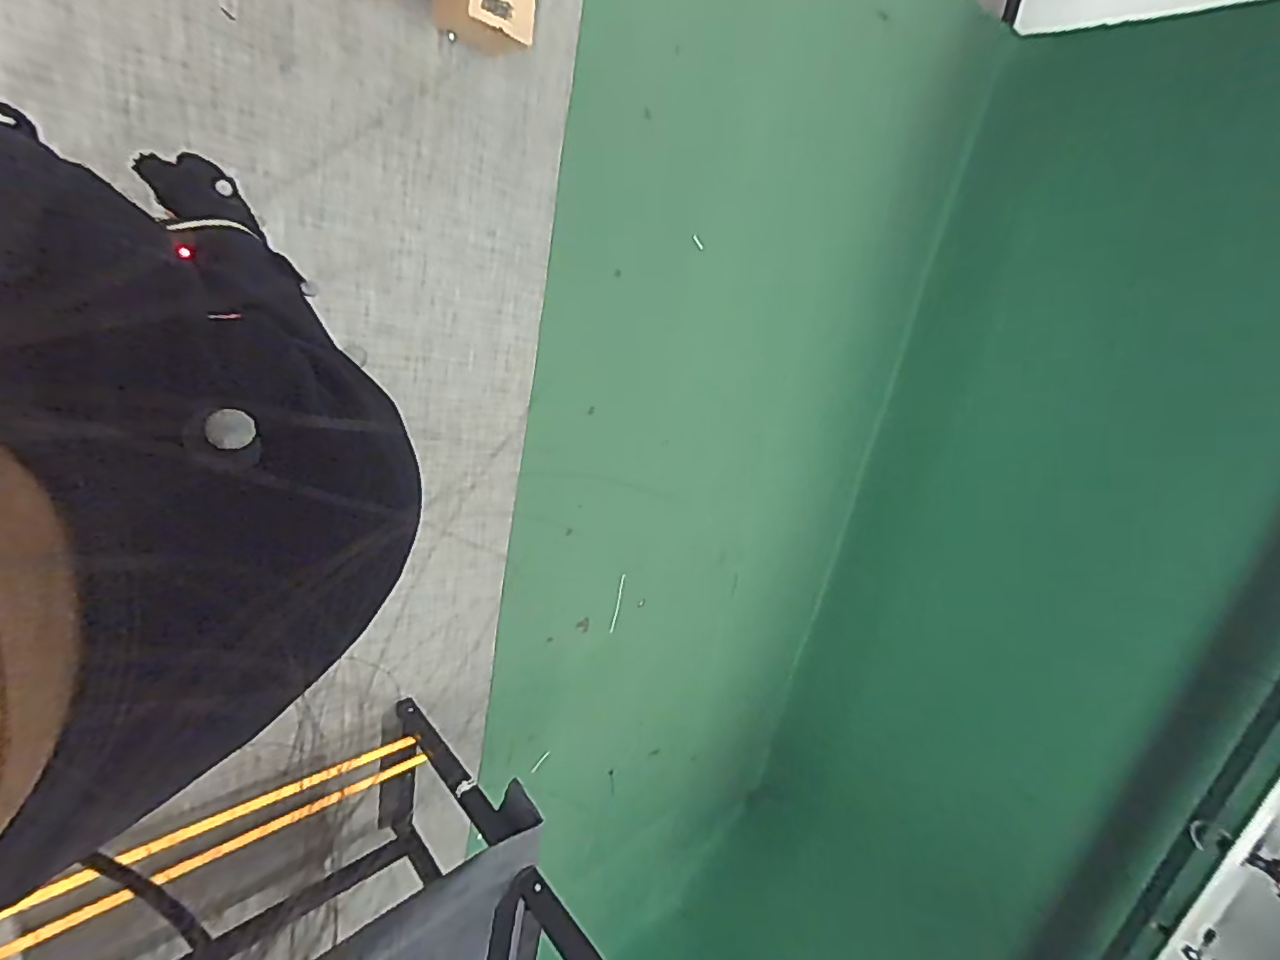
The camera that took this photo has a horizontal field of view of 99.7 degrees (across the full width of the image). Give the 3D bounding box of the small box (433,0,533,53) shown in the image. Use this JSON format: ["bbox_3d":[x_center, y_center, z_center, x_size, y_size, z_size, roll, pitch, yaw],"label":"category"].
[{"bbox_3d":[-0.361,-1.123,1.243,0.168,0.176,0.179,-8,116,-46],"label":"small box"}]
